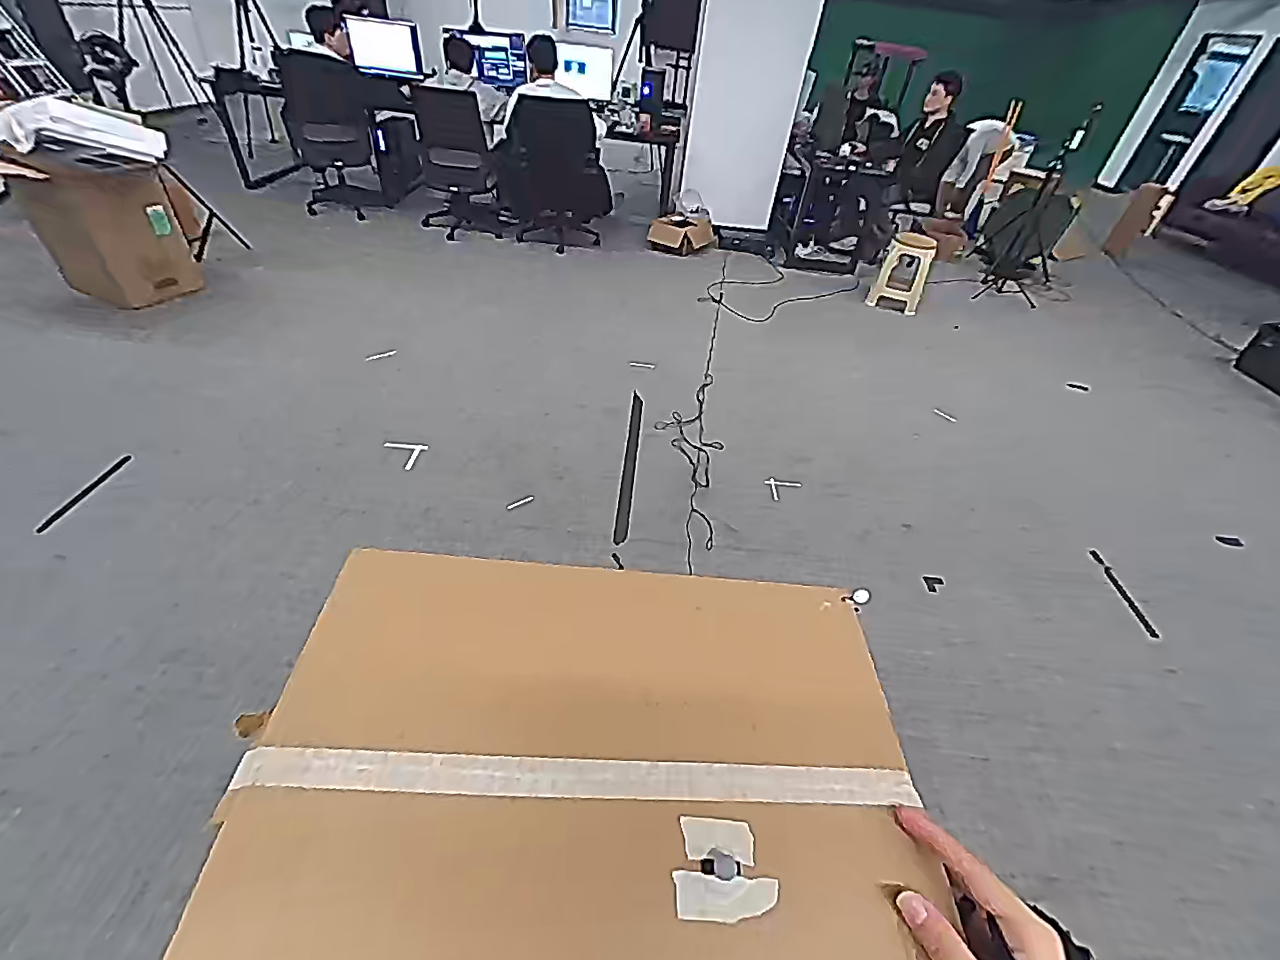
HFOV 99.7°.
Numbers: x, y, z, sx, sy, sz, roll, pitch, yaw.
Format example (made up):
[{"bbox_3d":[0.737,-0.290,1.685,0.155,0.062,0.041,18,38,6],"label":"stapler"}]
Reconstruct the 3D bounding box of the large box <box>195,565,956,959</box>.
[{"bbox_3d":[-0.044,0.296,0.443,0.408,0.320,0.320,6,45,-7],"label":"large box"}]
